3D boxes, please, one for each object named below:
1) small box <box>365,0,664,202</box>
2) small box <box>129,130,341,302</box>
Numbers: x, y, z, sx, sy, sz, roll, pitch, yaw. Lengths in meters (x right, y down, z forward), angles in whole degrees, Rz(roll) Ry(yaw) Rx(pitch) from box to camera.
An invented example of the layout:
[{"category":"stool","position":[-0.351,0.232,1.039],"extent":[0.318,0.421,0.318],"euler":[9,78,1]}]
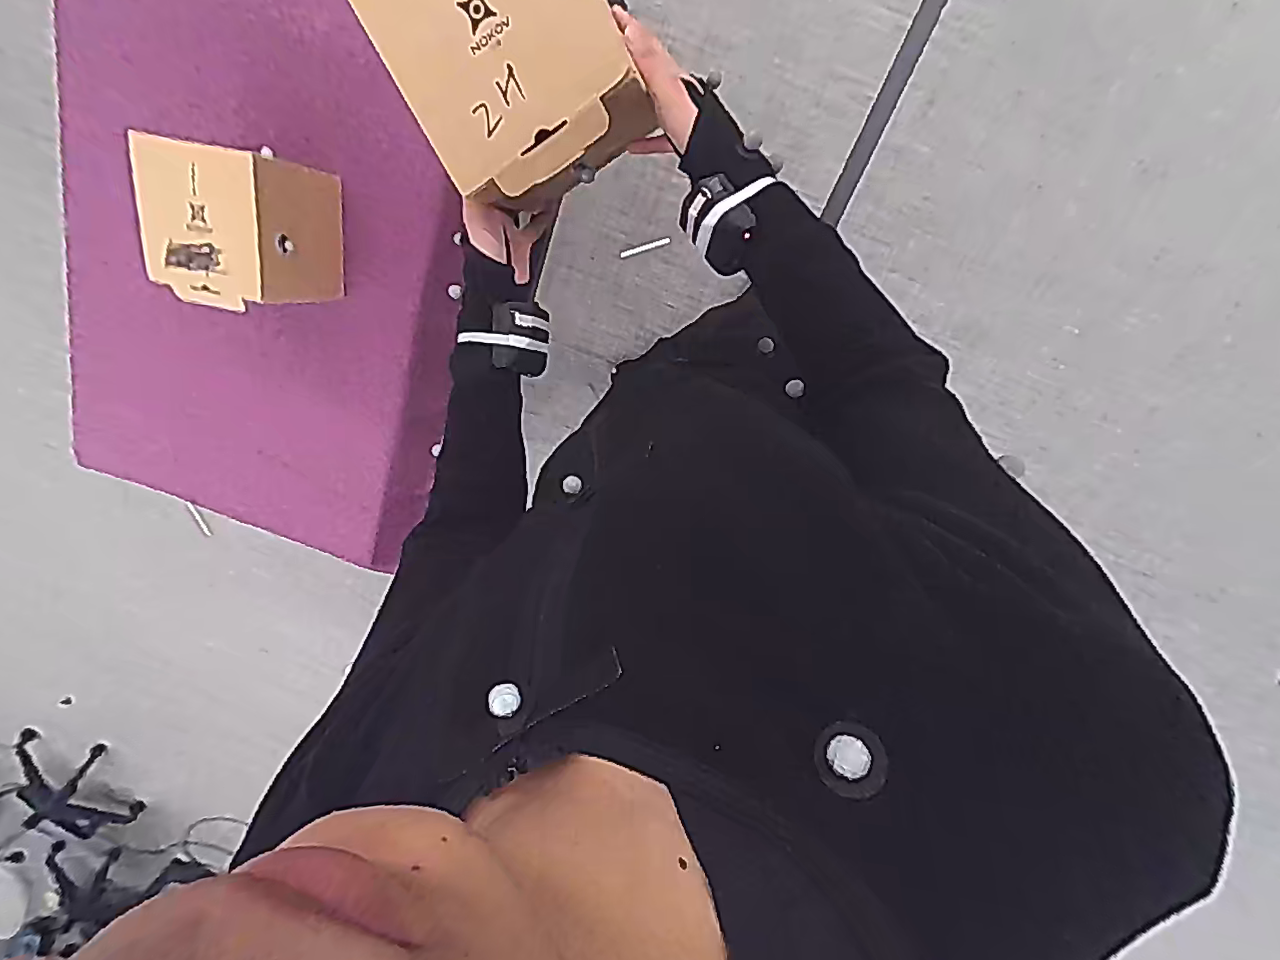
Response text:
[{"category":"small box","position":[-0.094,-0.369,0.466],"extent":[0.168,0.176,0.179],"euler":[-24,107,19]},{"category":"small box","position":[-0.544,-0.356,0.756],"extent":[0.168,0.176,0.179],"euler":[12,111,3]}]
